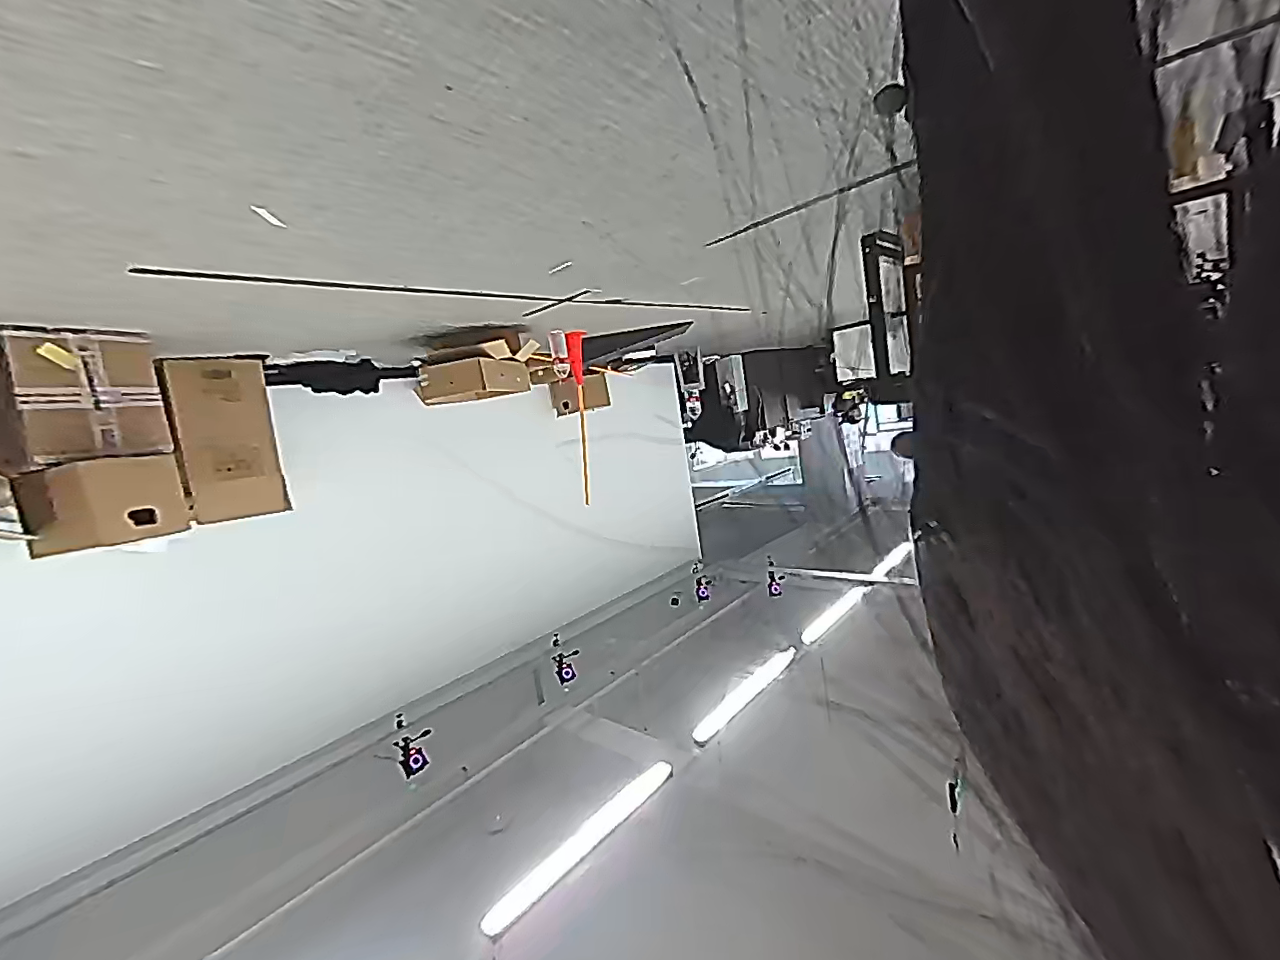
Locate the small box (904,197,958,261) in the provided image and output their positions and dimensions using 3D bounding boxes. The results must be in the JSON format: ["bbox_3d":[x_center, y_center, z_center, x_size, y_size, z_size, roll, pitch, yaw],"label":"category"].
[{"bbox_3d":[1.158,-1.001,2.161,0.179,0.176,0.168,-7,-173,26],"label":"small box"}]

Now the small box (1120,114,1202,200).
[{"bbox_3d":[1.643,-1.019,1.711,0.179,0.176,0.168,-2,-171,41],"label":"small box"}]
